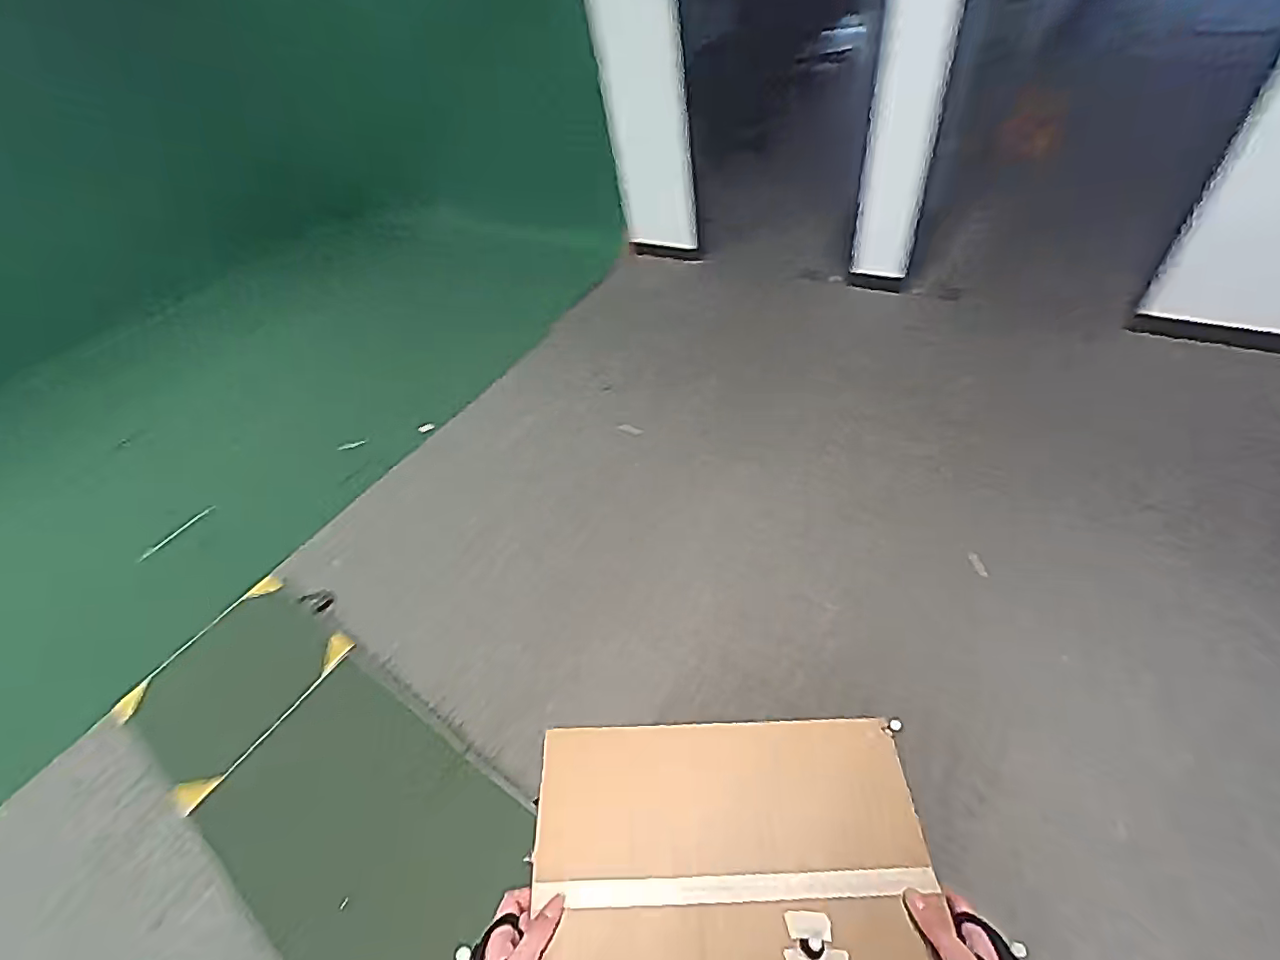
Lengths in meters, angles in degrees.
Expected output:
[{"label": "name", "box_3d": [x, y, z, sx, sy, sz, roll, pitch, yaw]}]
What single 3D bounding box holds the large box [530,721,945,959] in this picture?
[{"label": "large box", "box_3d": [0.090, 0.519, 0.658, 0.408, 0.320, 0.320, -3, 49, -1]}]
